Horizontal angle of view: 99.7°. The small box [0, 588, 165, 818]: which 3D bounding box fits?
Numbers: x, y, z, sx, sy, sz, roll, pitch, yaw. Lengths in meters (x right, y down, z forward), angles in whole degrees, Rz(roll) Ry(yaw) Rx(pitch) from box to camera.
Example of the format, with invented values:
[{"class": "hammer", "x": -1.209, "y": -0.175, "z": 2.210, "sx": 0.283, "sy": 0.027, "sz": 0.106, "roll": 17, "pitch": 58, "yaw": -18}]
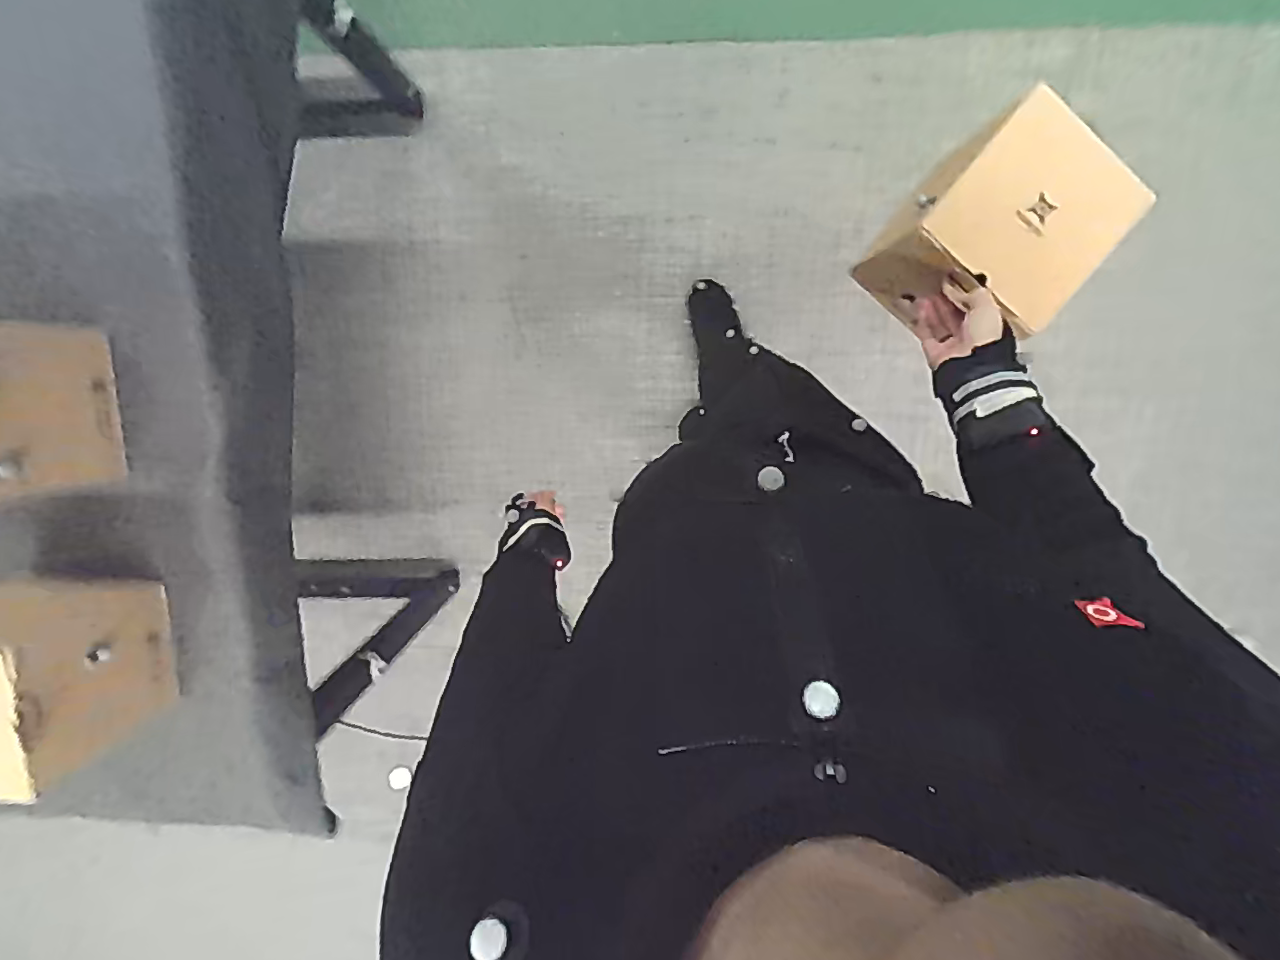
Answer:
[{"class": "small box", "x": -0.663, "y": 0.225, "z": 0.584, "sx": 0.179, "sy": 0.176, "sz": 0.168, "roll": 3, "pitch": 100, "yaw": 3}]
